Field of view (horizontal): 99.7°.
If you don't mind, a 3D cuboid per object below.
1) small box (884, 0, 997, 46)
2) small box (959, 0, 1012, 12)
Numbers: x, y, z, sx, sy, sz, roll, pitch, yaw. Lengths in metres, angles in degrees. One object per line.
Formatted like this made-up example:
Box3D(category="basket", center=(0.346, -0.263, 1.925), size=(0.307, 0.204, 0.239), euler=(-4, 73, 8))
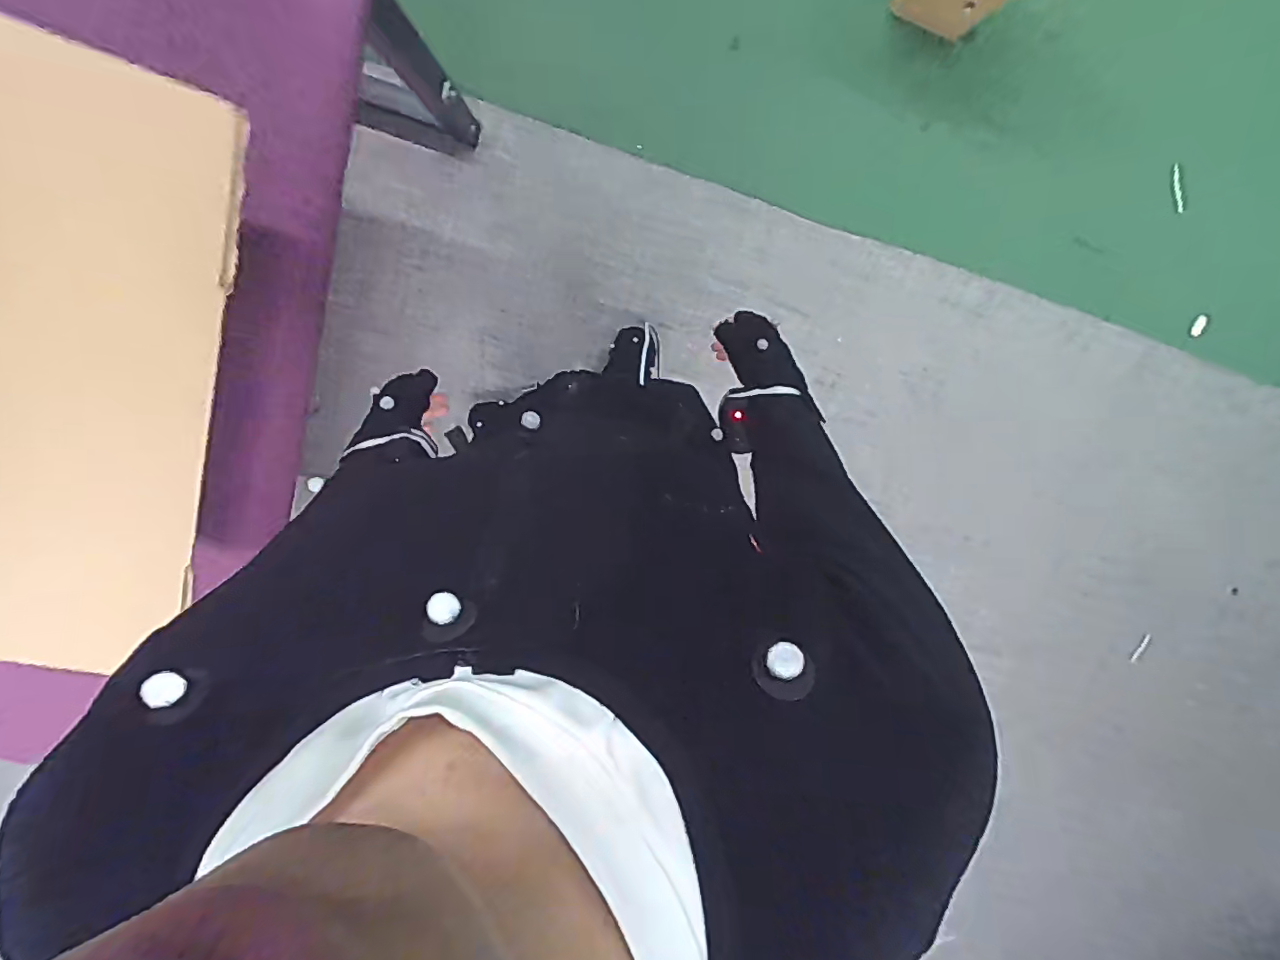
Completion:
Box3D(category="small box", center=(0.662, -1.070, 1.145), size=(0.179, 0.176, 0.168), euler=(17, 105, -9))
Box3D(category="small box", center=(0.672, -1.016, 0.992), size=(0.179, 0.176, 0.168), euler=(18, 105, -9))
